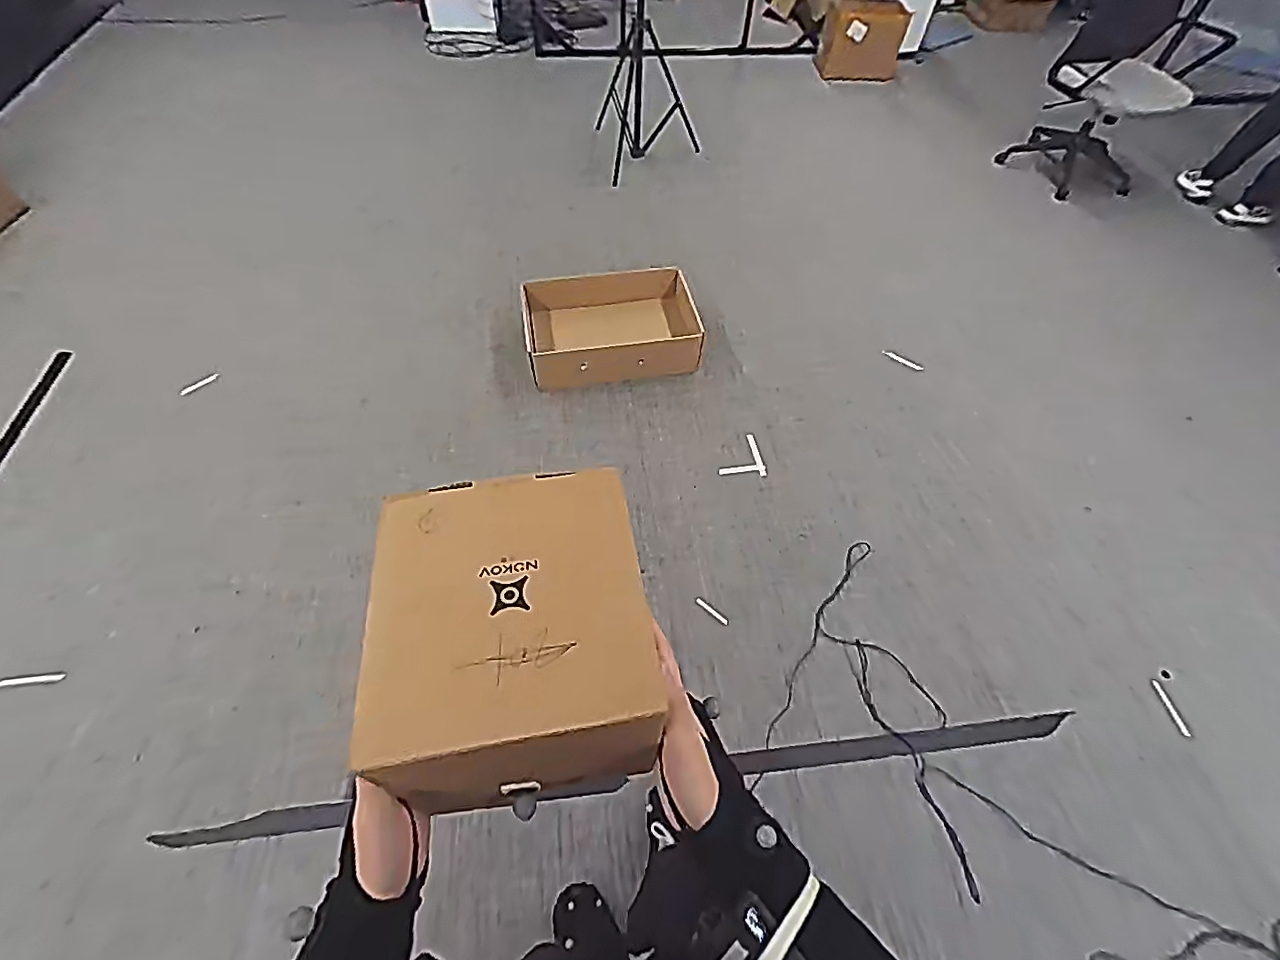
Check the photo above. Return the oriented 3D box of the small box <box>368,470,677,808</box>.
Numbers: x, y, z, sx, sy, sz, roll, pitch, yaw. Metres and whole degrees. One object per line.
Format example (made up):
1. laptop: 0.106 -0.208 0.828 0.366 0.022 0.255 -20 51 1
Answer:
1. small box: -0.078 0.118 0.398 0.168 0.176 0.179 -8 54 -8
